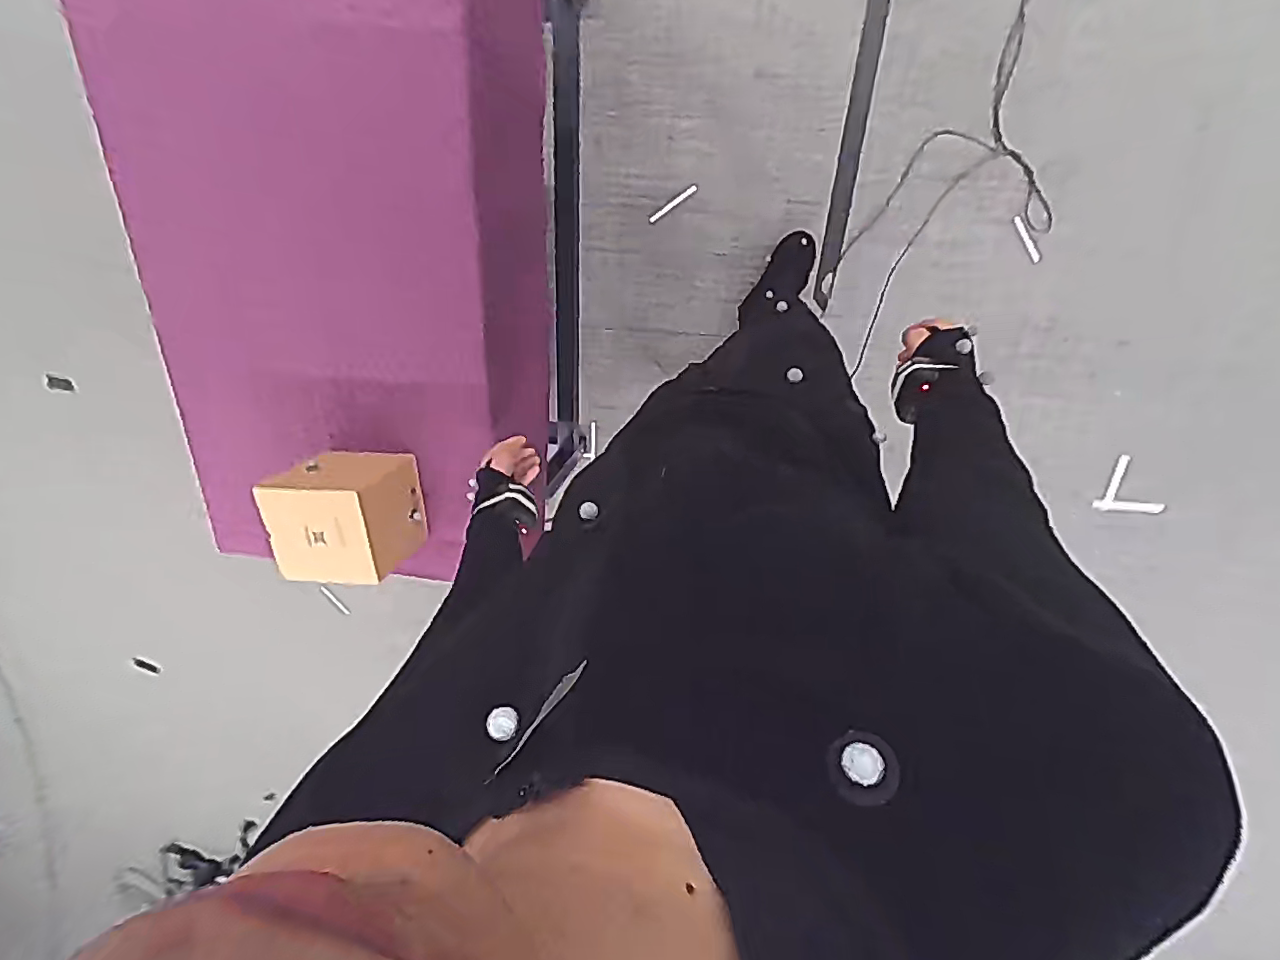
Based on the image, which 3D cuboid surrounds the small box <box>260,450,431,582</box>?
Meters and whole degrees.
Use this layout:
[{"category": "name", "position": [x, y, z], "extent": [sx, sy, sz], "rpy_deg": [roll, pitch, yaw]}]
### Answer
[{"category": "small box", "position": [-0.487, 0.053, 0.920], "extent": [0.179, 0.176, 0.168], "rpy_deg": [2, 113, 9]}]
